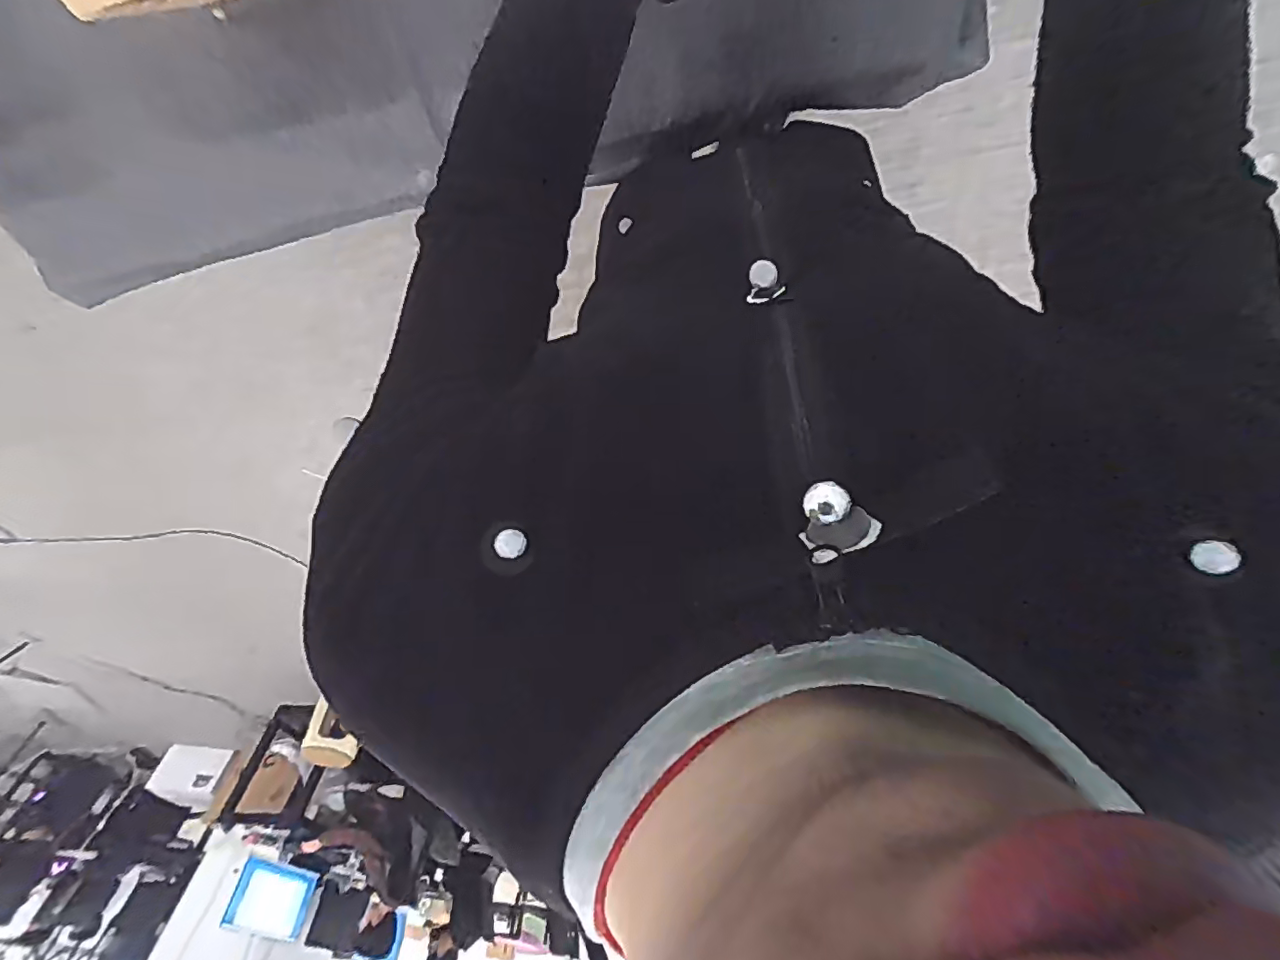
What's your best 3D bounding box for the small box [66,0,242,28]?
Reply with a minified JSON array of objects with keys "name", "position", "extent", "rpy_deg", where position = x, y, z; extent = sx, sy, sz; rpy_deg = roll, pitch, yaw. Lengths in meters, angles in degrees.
[{"name":"small box","position":[-0.392,-0.500,0.433],"extent":[0.168,0.176,0.179],"rpy_deg":[-5,133,12]}]
